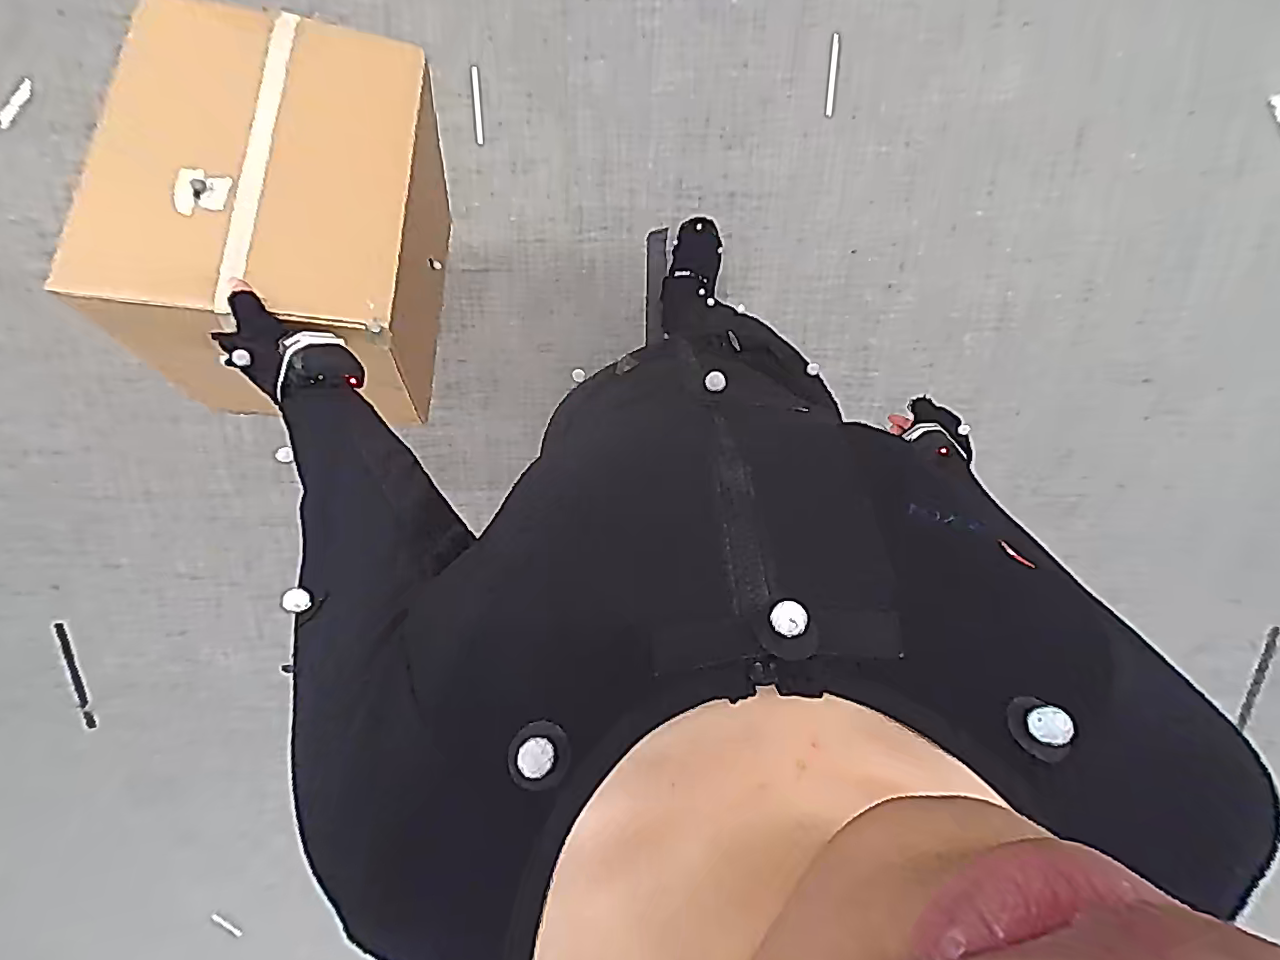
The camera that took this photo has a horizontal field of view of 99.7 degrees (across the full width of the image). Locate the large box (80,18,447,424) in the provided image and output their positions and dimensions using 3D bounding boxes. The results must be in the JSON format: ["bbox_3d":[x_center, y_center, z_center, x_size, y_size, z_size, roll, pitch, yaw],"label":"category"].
[{"bbox_3d":[-0.466,-0.329,0.780,0.320,0.320,0.408,3,75,-11],"label":"large box"}]
